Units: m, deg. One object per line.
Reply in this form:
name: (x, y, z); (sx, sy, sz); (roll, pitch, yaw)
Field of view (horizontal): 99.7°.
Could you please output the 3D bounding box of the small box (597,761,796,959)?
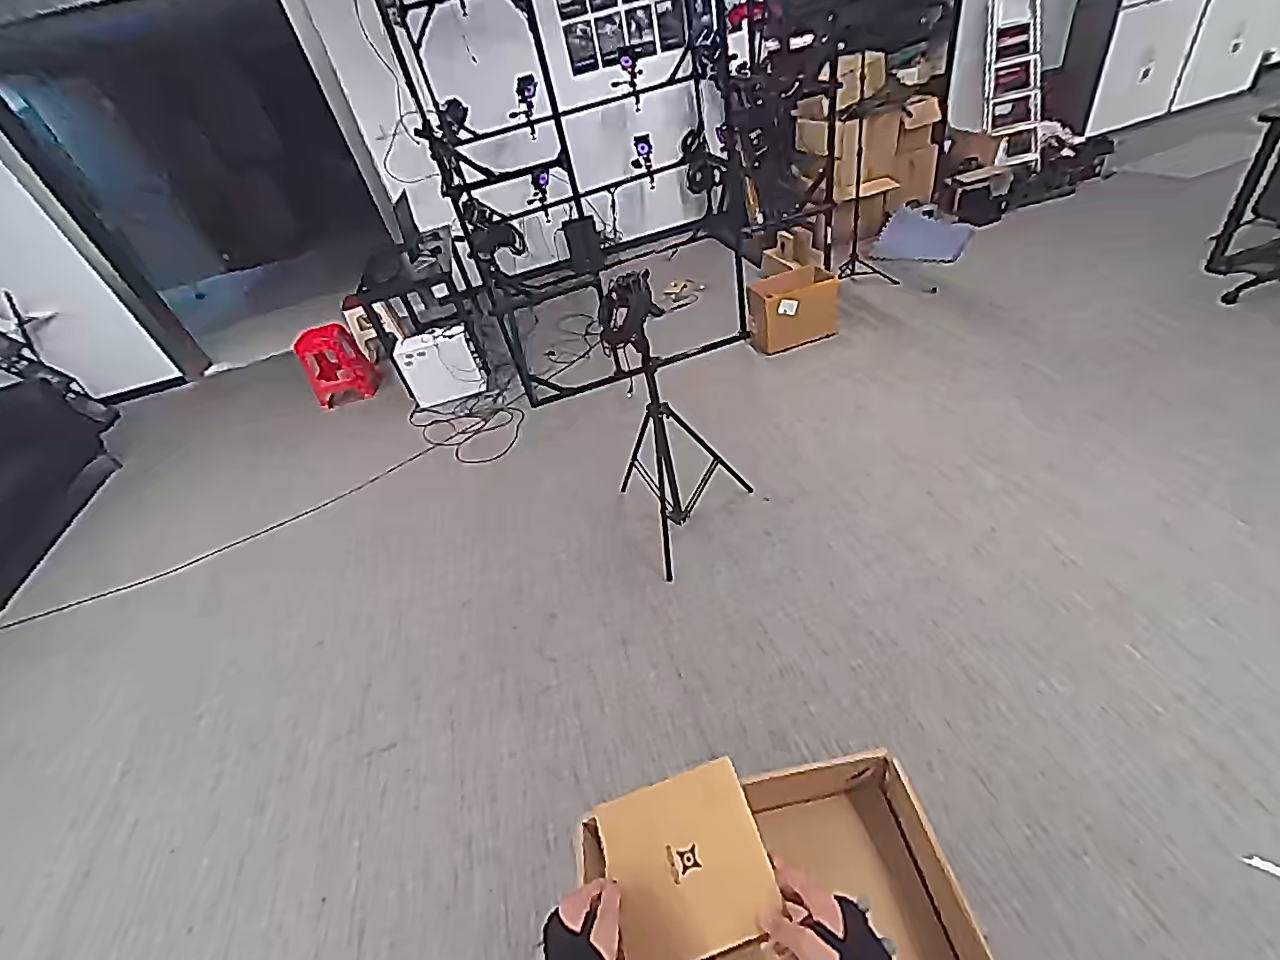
small box: (0.069, 0.467, 0.644); (0.179, 0.176, 0.168); (-22, 47, -2)
